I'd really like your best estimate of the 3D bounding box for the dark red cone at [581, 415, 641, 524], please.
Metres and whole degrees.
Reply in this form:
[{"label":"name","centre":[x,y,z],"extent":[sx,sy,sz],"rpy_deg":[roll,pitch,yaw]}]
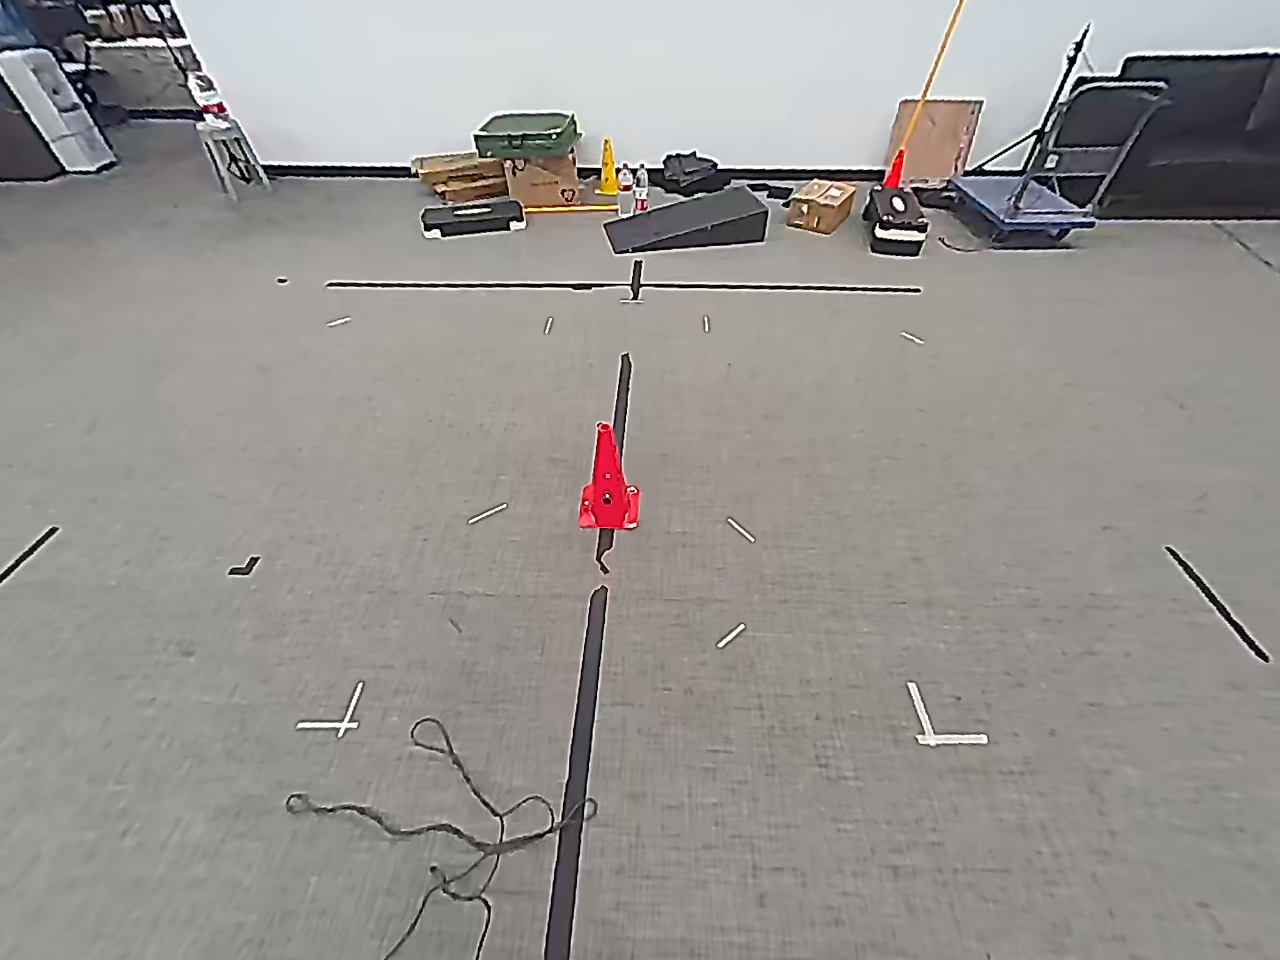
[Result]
[{"label":"dark red cone","centre":[-0.101,-0.046,1.732],"extent":[0.201,0.394,0.202],"rpy_deg":[1,45,2]}]
